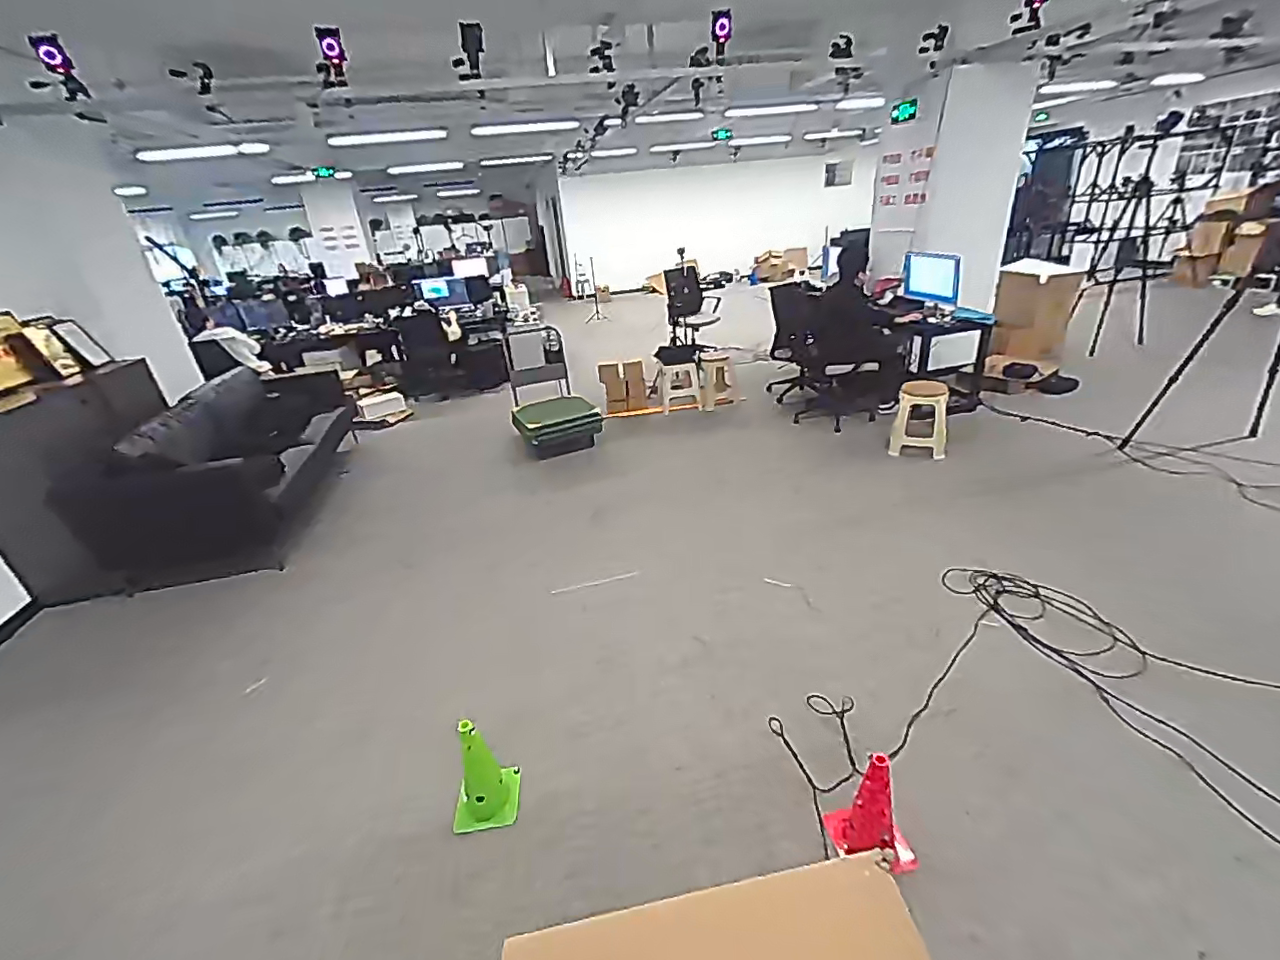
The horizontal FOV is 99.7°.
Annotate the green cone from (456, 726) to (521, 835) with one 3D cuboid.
[{"bbox_3d":[-0.514,0.911,1.712,0.200,0.368,0.202,-8,28,-4],"label":"green cone"}]

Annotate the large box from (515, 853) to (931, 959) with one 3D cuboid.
[{"bbox_3d":[0.105,0.645,0.523,0.408,0.320,0.320,-10,35,-5],"label":"large box"}]
